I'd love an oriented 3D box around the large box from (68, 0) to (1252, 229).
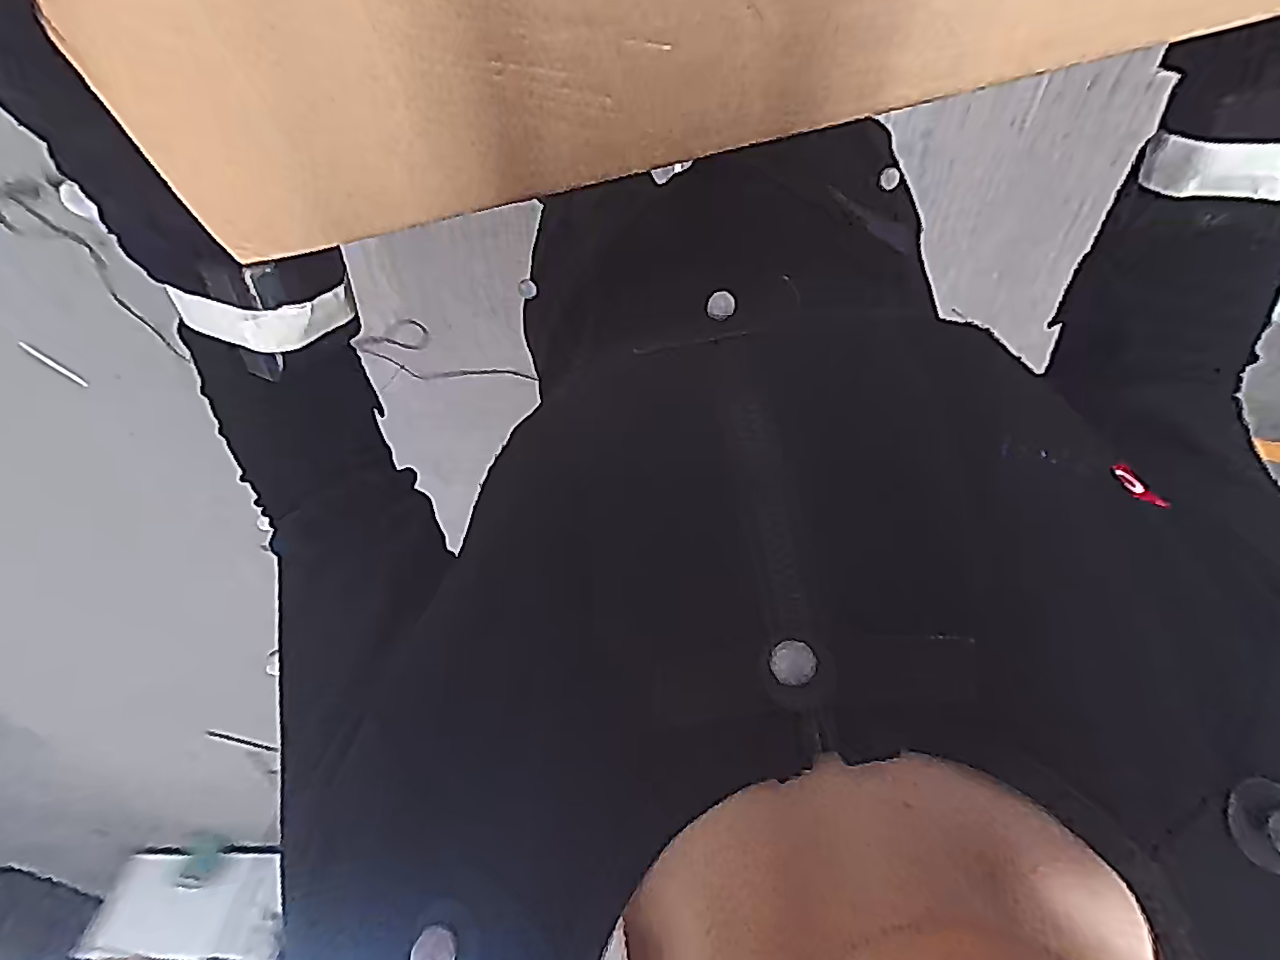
[{"bbox_3d":[-0.004,-0.345,0.183,0.408,0.320,0.320,-9,140,5],"label":"large box"}]
